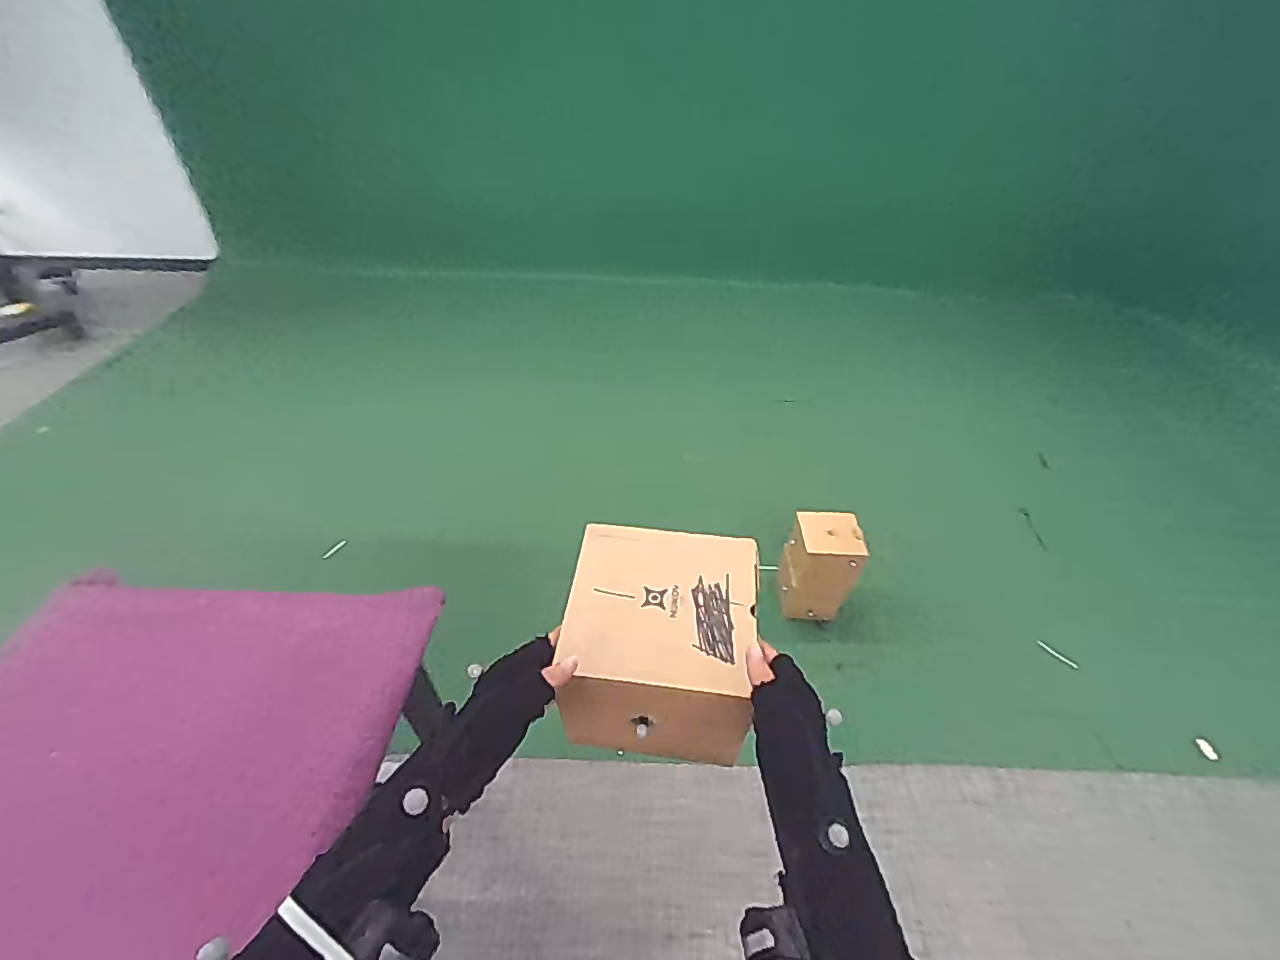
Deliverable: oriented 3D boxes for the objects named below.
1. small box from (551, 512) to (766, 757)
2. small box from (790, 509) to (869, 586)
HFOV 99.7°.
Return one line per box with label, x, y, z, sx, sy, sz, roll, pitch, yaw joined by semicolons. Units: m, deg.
small box;0.023;0.160;0.553;0.179;0.176;0.168;9;44;7
small box;0.560;0.205;1.629;0.179;0.176;0.168;2;43;0
